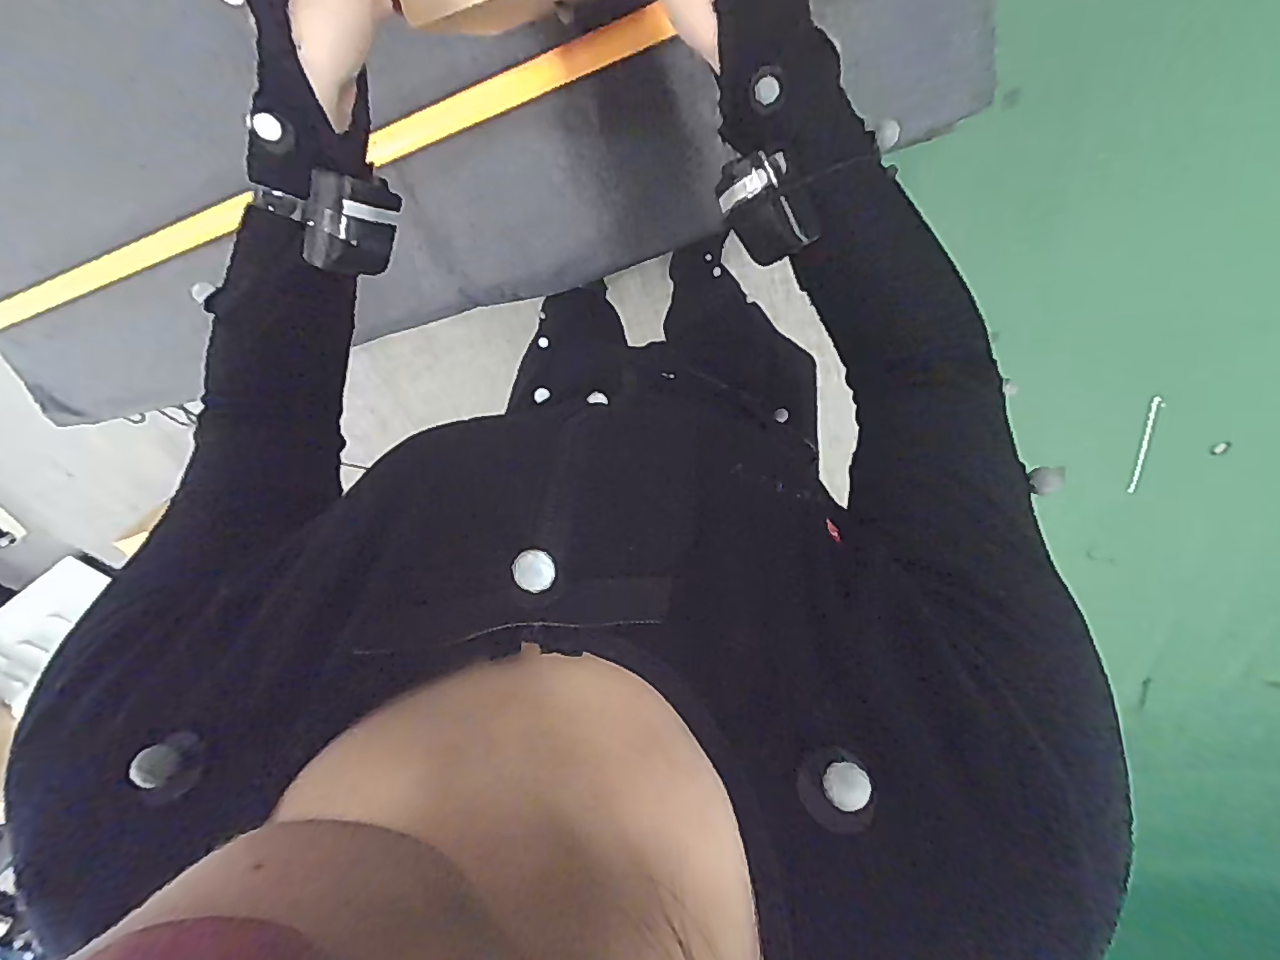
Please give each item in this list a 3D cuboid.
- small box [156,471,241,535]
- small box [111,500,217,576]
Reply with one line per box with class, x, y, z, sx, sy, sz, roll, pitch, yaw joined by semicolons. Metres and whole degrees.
small box;-1.531;0.088;1.902;0.179;0.176;0.168;-14;126;19
small box;-1.543;0.186;1.770;0.179;0.176;0.168;-15;125;20
